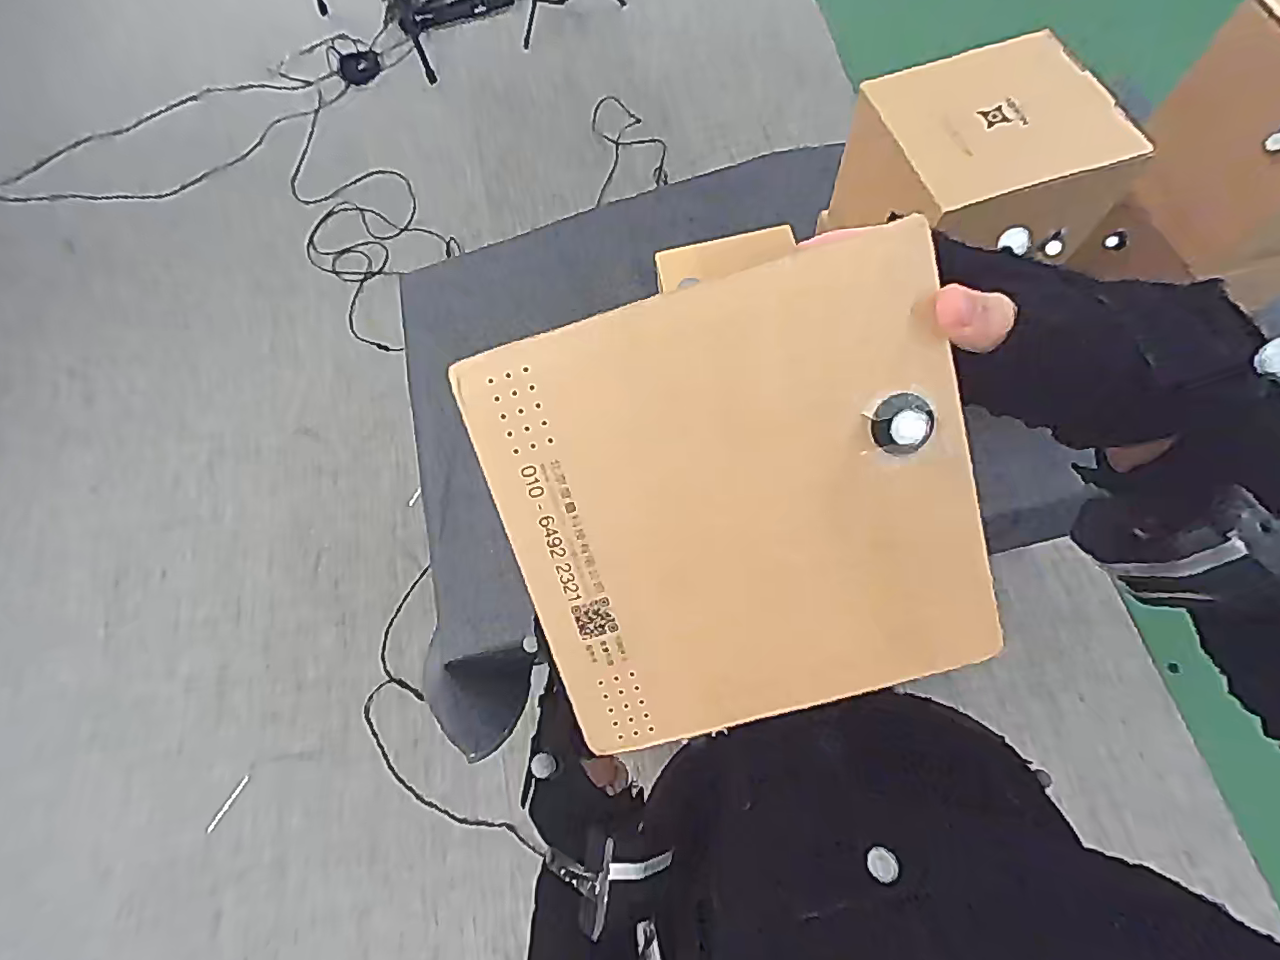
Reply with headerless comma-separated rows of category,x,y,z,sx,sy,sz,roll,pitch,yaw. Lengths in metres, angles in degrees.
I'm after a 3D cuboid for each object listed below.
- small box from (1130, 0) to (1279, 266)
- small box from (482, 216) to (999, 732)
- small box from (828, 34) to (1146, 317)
small box,0.627,-0.328,0.511,0.168,0.176,0.179,-11,69,3
small box,0.038,-0.007,0.281,0.176,0.179,0.168,-17,101,4
small box,0.311,-0.277,0.533,0.179,0.176,0.168,-16,68,1
